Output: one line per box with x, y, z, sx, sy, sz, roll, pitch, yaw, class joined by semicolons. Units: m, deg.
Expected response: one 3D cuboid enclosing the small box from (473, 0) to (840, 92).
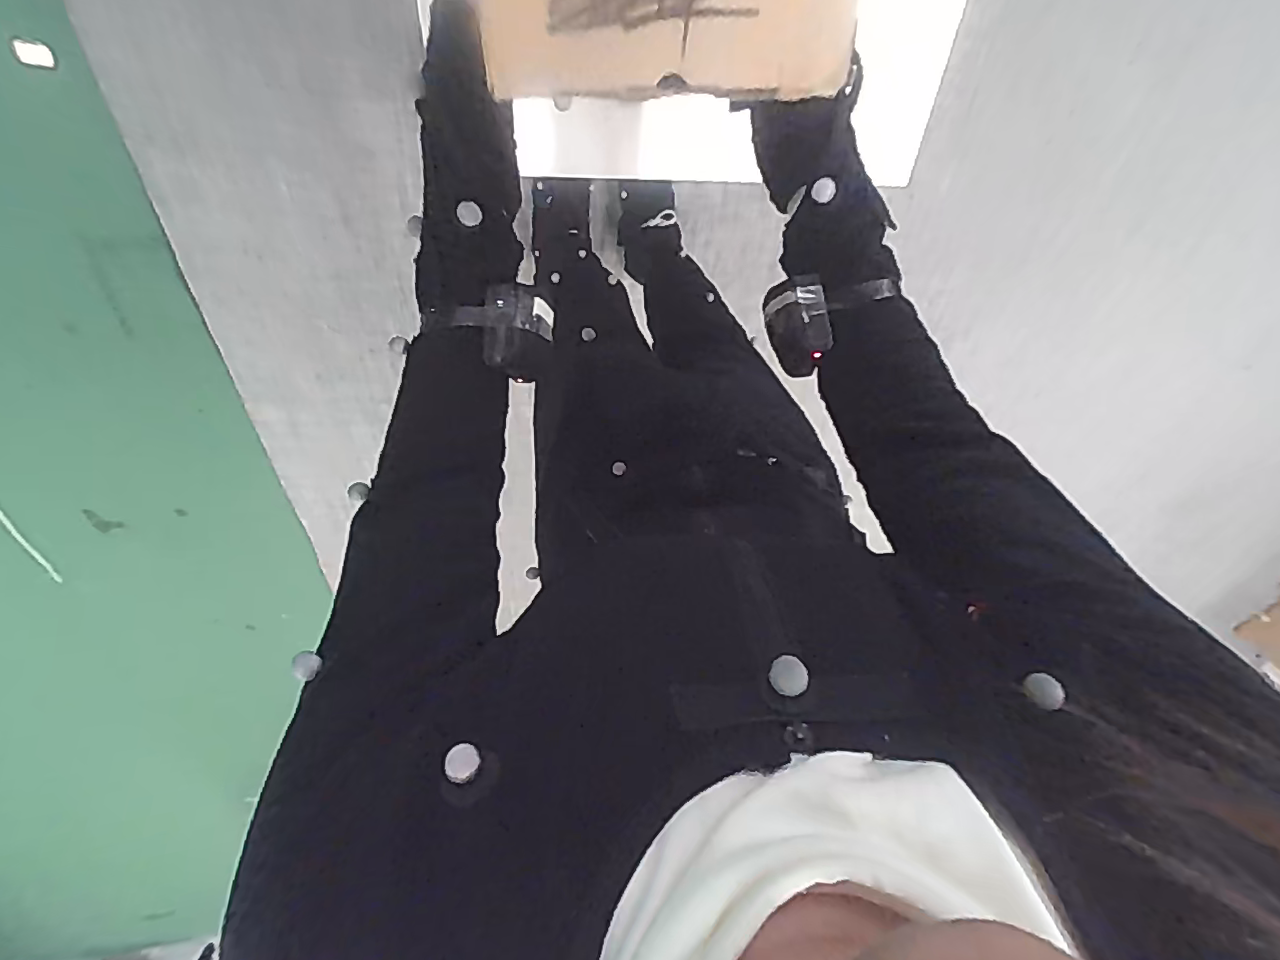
0.002;-0.304;0.265;0.168;0.176;0.179;-4;128;-5;small box
